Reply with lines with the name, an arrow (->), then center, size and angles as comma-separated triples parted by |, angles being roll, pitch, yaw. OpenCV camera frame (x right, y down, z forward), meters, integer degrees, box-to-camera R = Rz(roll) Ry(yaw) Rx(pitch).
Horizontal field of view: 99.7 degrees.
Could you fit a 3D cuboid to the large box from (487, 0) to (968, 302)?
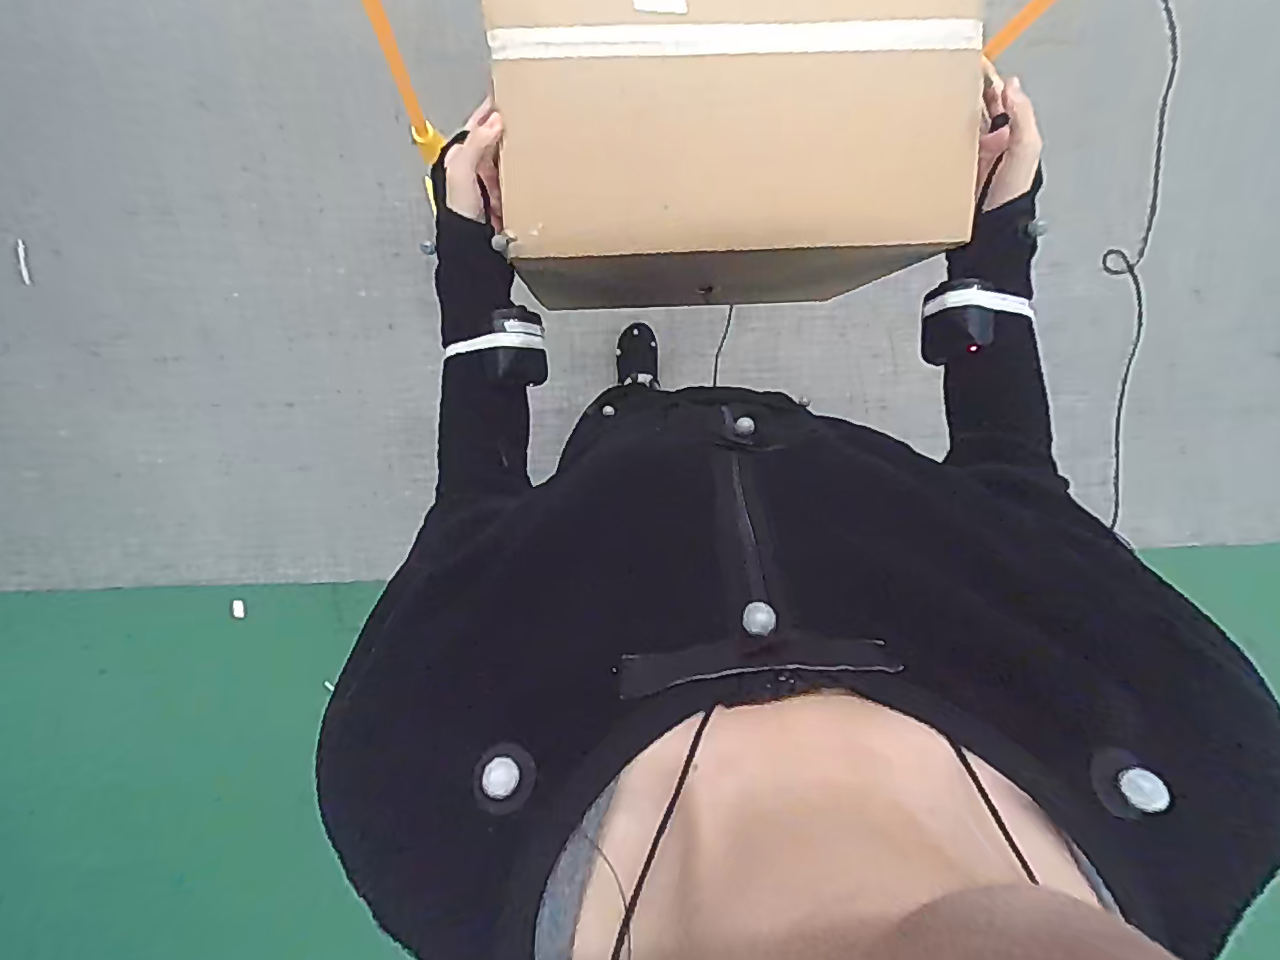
large box -> 0.071, -0.382, 0.595 | 0.408, 0.320, 0.320 | -3, 100, -2
